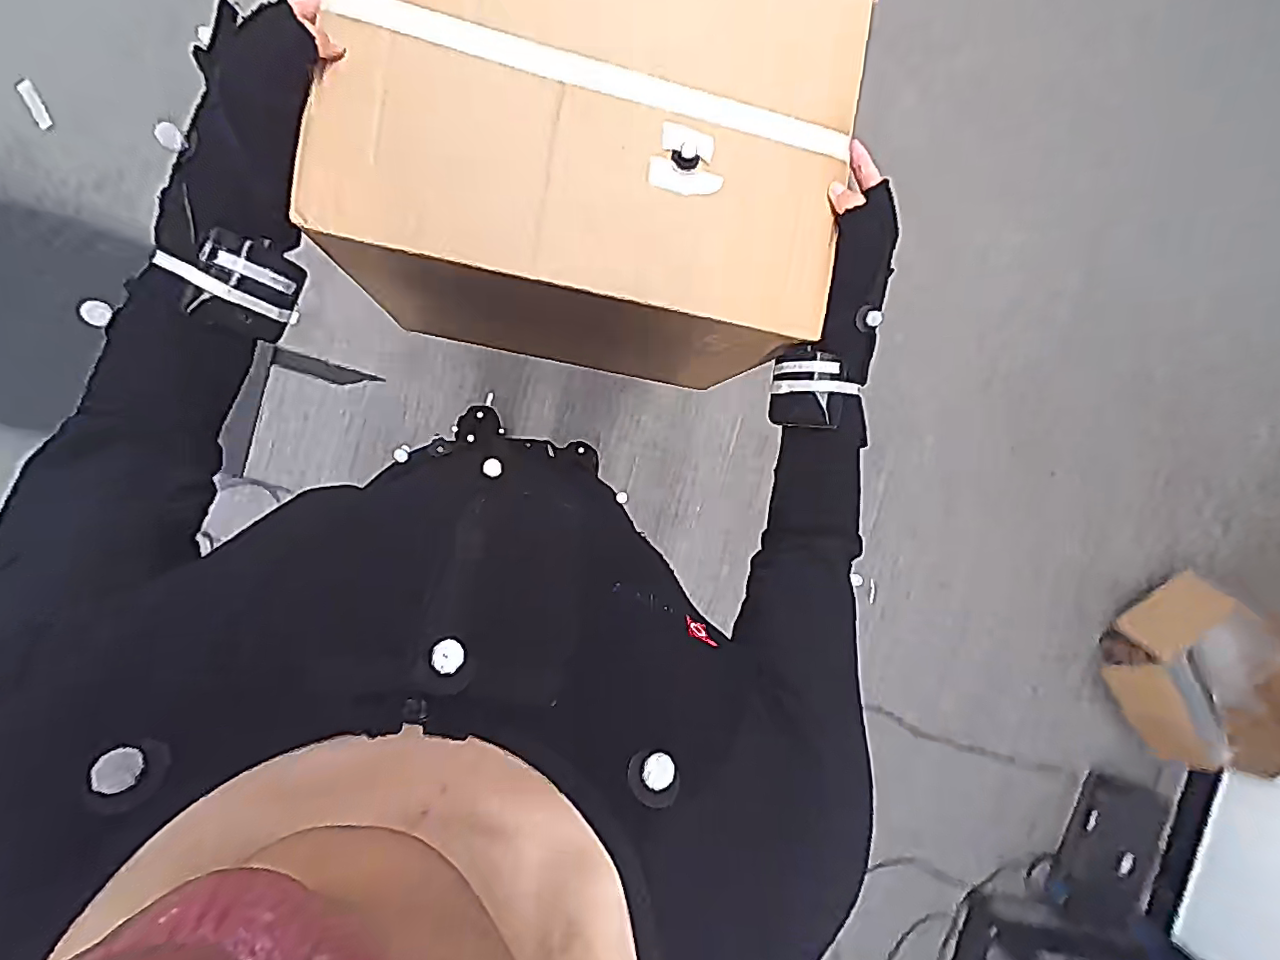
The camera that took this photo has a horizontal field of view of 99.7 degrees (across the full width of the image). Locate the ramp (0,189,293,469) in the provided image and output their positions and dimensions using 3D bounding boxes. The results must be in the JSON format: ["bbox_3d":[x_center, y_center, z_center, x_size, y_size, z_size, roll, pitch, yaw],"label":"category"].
[{"bbox_3d":[-1.387,-0.382,1.212,0.991,0.206,0.509,14,92,-8],"label":"ramp"}]

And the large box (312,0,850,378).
[{"bbox_3d":[-0.058,-0.311,0.573,0.408,0.320,0.320,8,91,-11],"label":"large box"}]
